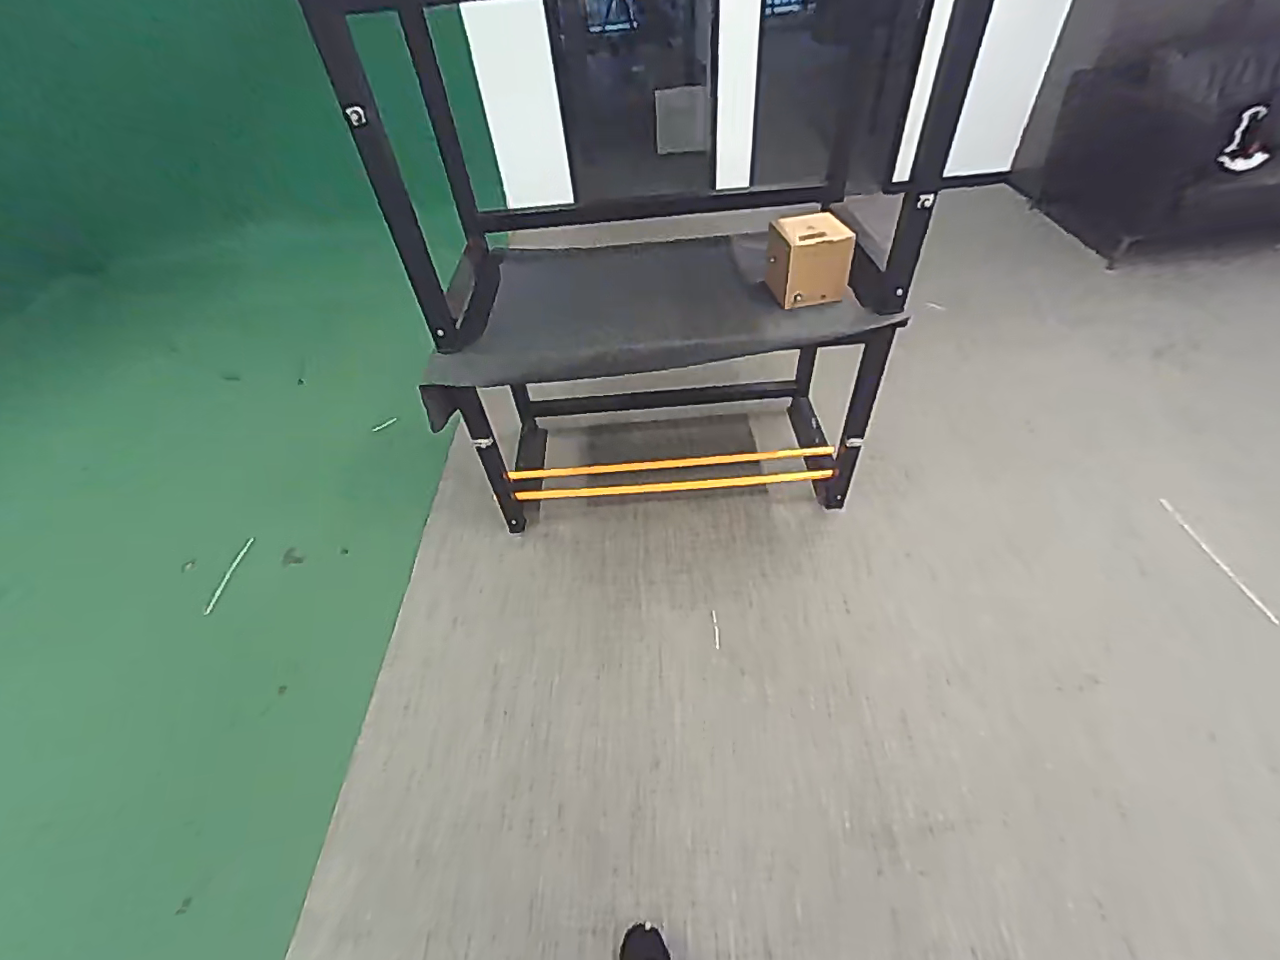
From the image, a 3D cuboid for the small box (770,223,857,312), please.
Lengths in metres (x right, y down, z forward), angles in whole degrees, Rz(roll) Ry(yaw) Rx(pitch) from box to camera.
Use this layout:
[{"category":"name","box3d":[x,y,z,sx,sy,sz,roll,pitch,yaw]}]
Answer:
[{"category":"small box","box3d":[0.453,-0.561,1.442,0.168,0.176,0.179,-9,44,-2]}]
